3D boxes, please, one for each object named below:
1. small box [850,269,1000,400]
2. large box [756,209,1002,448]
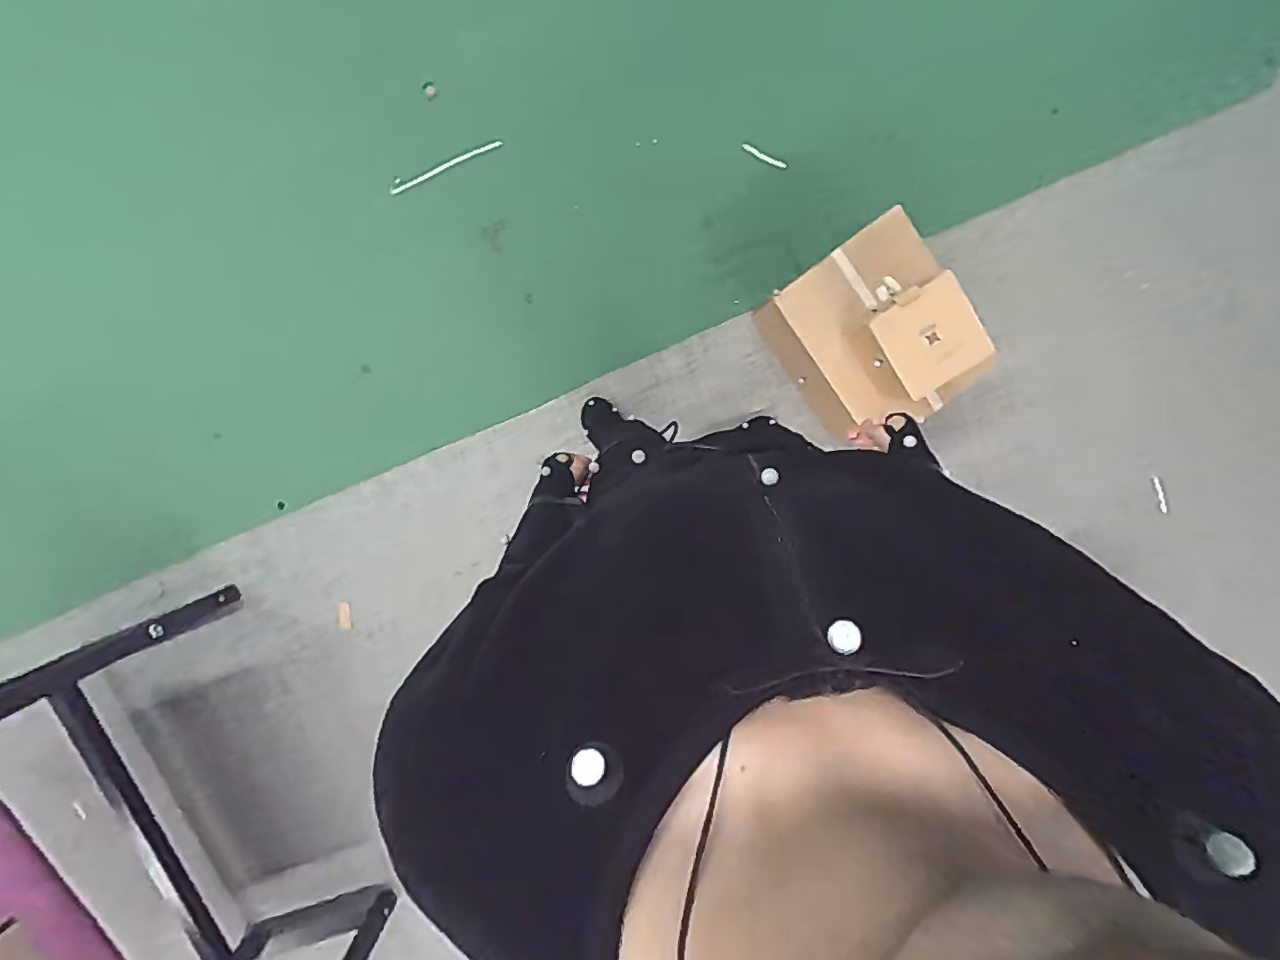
[{"bbox_3d":[0.535,-0.270,1.043,0.168,0.176,0.179,-32,97,10],"label":"small box"},{"bbox_3d":[0.532,-0.333,1.283,0.320,0.320,0.408,-36,95,7],"label":"large box"}]
